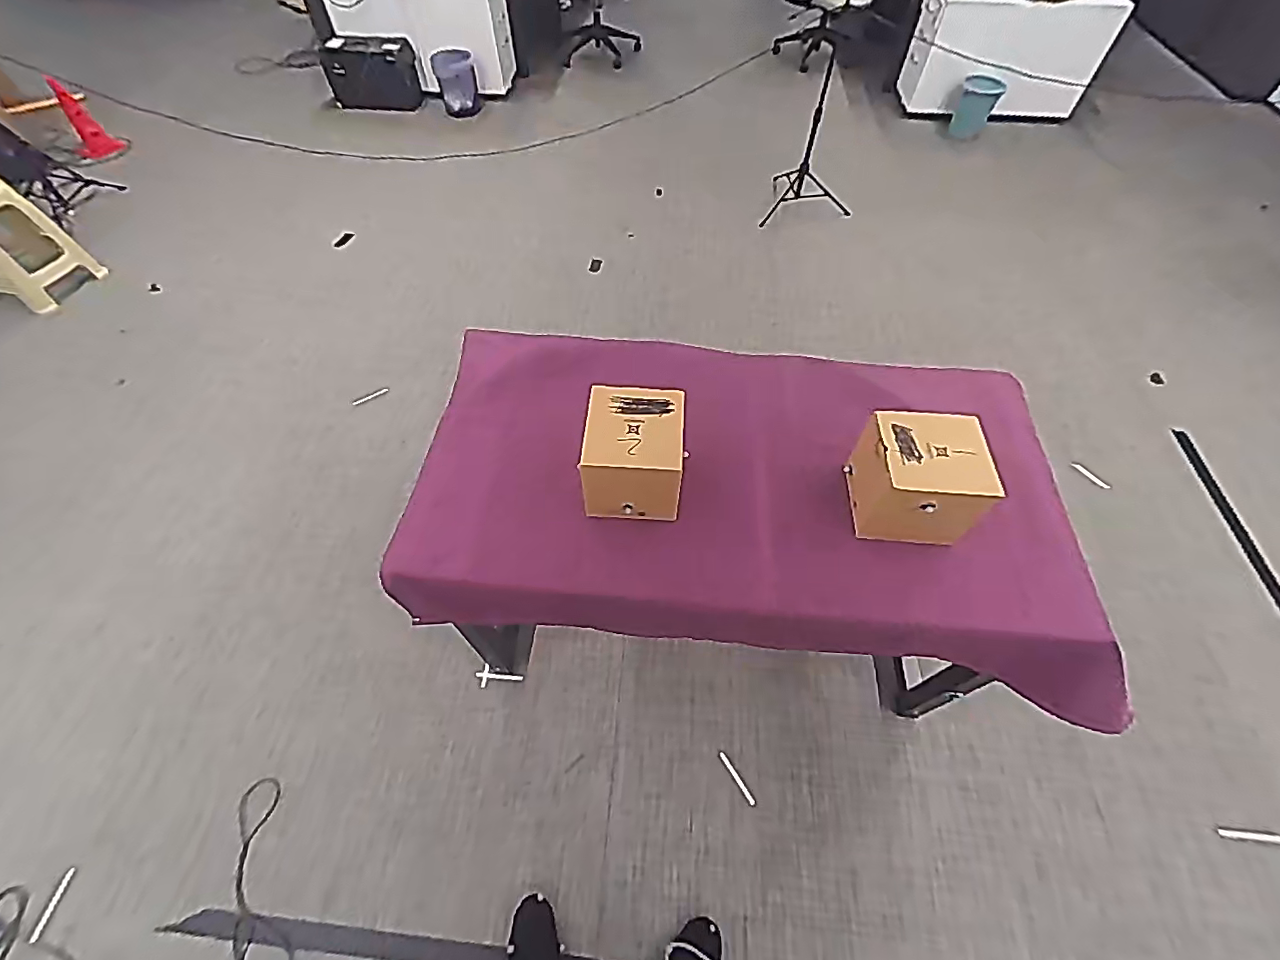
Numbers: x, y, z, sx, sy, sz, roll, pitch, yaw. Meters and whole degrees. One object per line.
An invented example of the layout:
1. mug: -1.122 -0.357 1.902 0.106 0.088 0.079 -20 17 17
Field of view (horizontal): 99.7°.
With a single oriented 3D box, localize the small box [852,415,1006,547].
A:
1. small box: 0.485 0.006 0.945 0.179 0.176 0.168 4 56 2
